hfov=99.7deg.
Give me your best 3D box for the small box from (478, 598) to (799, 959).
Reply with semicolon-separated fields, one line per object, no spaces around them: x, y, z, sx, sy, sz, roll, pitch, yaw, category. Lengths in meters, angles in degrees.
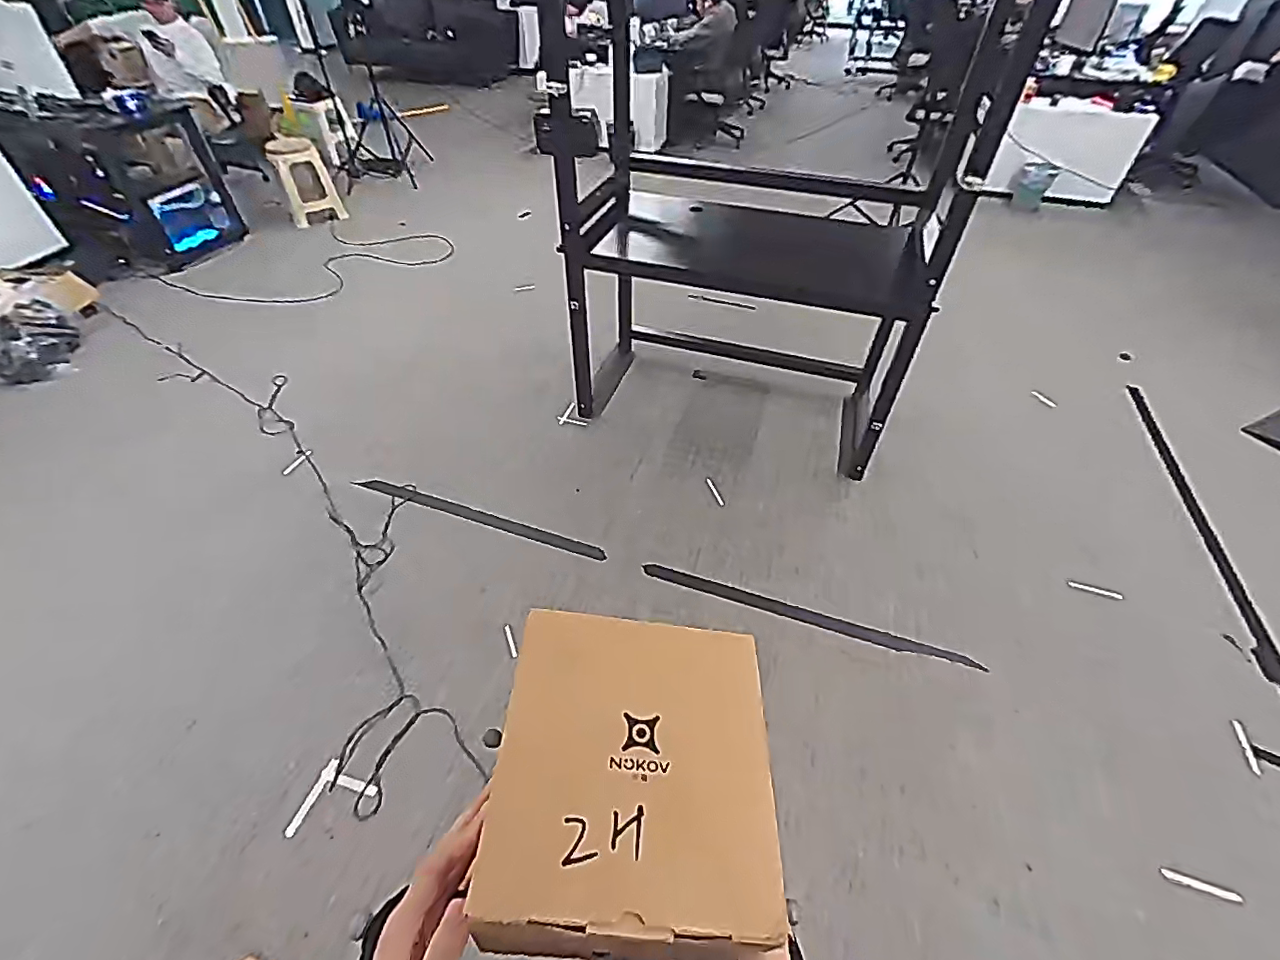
-0.008;0.212;0.381;0.168;0.176;0.179;8;44;-4;small box
